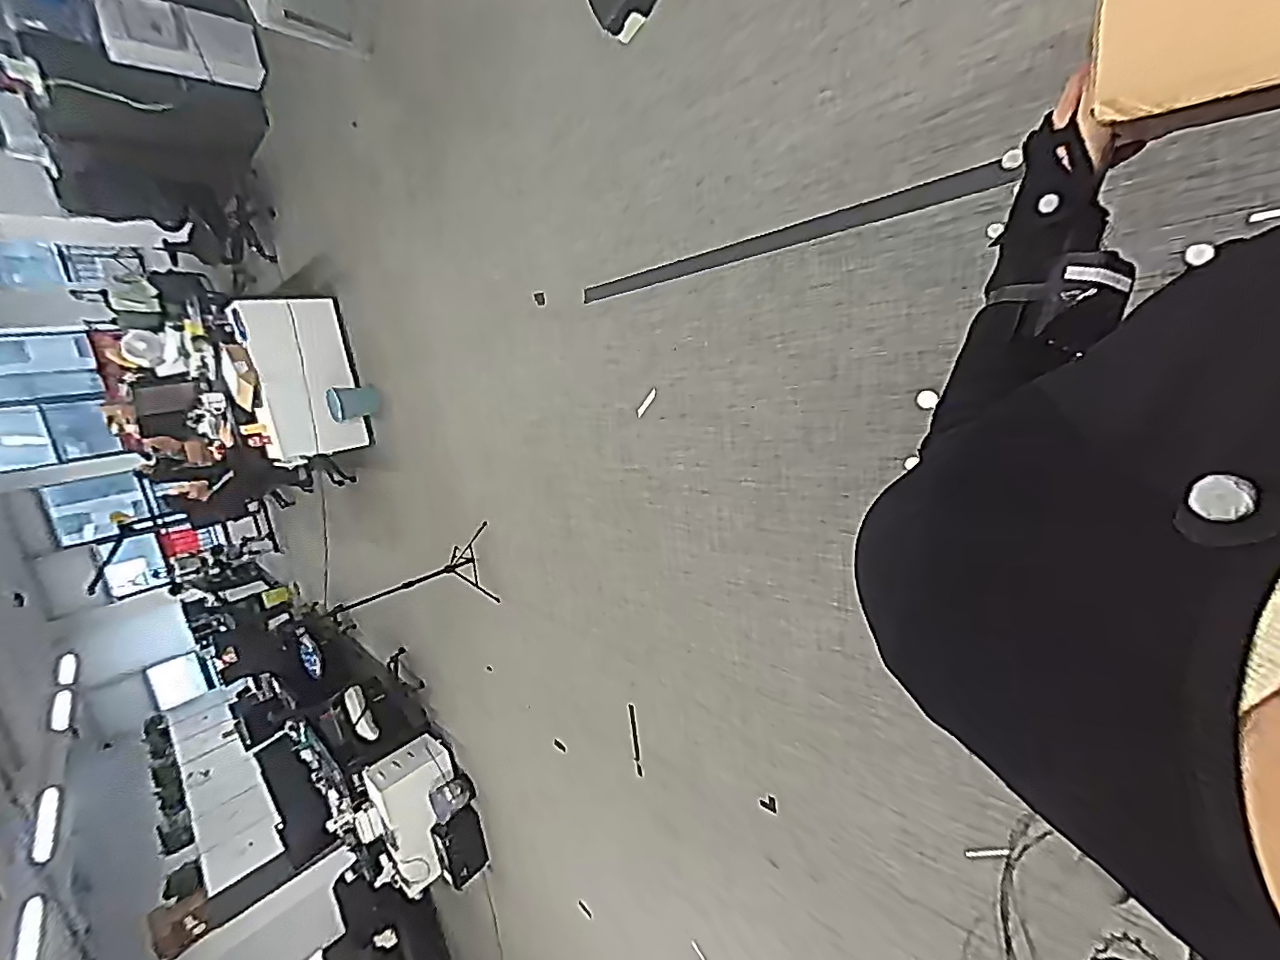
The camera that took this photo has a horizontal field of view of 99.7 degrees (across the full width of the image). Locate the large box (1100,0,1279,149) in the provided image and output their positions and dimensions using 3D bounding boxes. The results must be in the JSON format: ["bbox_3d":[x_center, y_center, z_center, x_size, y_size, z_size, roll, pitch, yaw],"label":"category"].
[{"bbox_3d":[0.418,-0.336,0.164,0.408,0.320,0.320,7,119,41],"label":"large box"}]
